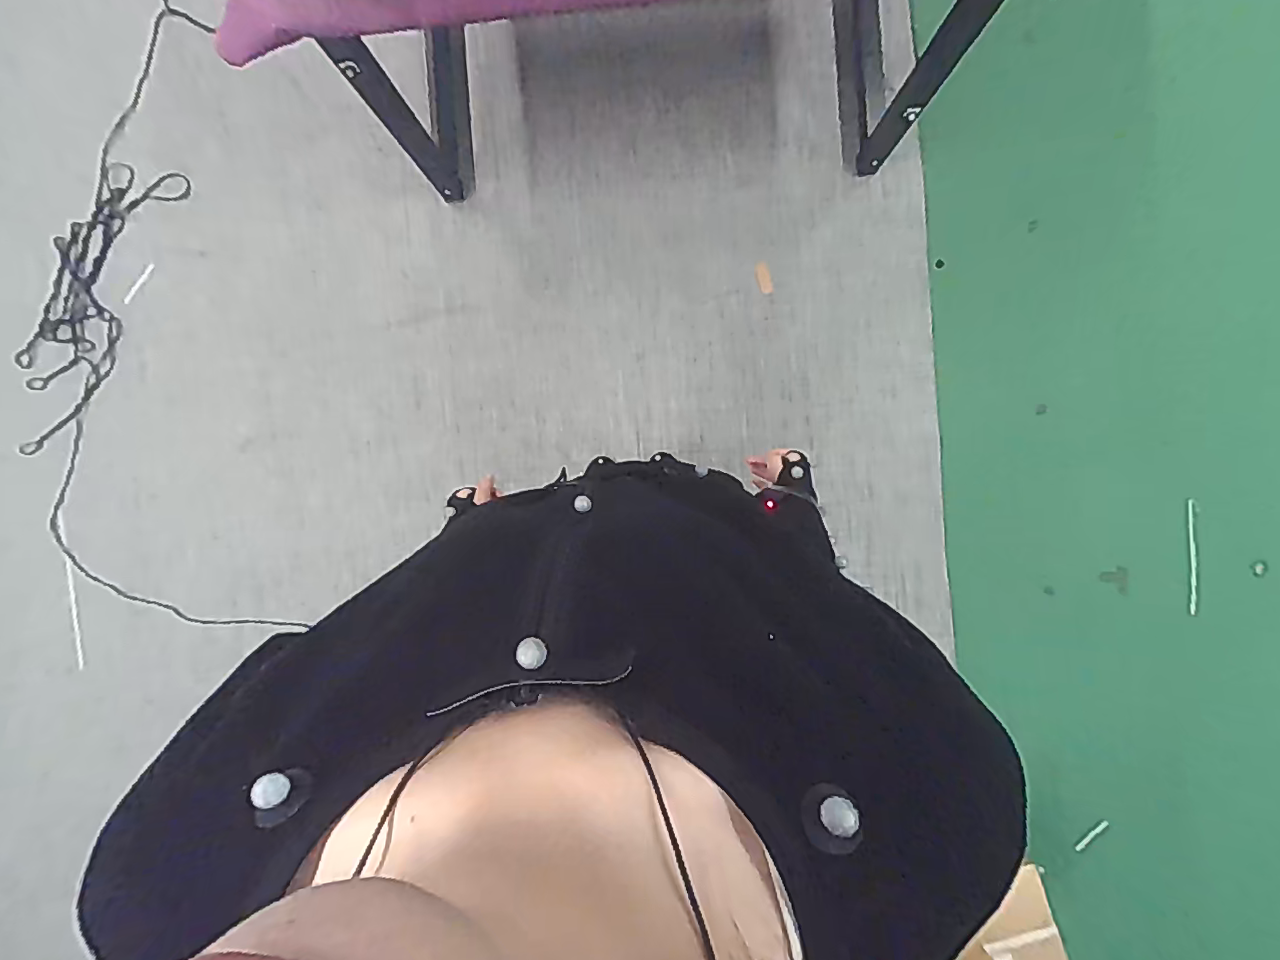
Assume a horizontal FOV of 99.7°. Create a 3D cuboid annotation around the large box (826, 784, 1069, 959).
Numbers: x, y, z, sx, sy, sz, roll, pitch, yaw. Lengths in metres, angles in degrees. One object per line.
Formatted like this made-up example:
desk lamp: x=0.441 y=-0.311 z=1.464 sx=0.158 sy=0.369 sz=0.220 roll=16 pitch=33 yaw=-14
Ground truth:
large box: x=0.752 y=1.055 z=1.372 sx=0.408 sy=0.320 sz=0.320 roll=-19 pitch=92 yaw=1
